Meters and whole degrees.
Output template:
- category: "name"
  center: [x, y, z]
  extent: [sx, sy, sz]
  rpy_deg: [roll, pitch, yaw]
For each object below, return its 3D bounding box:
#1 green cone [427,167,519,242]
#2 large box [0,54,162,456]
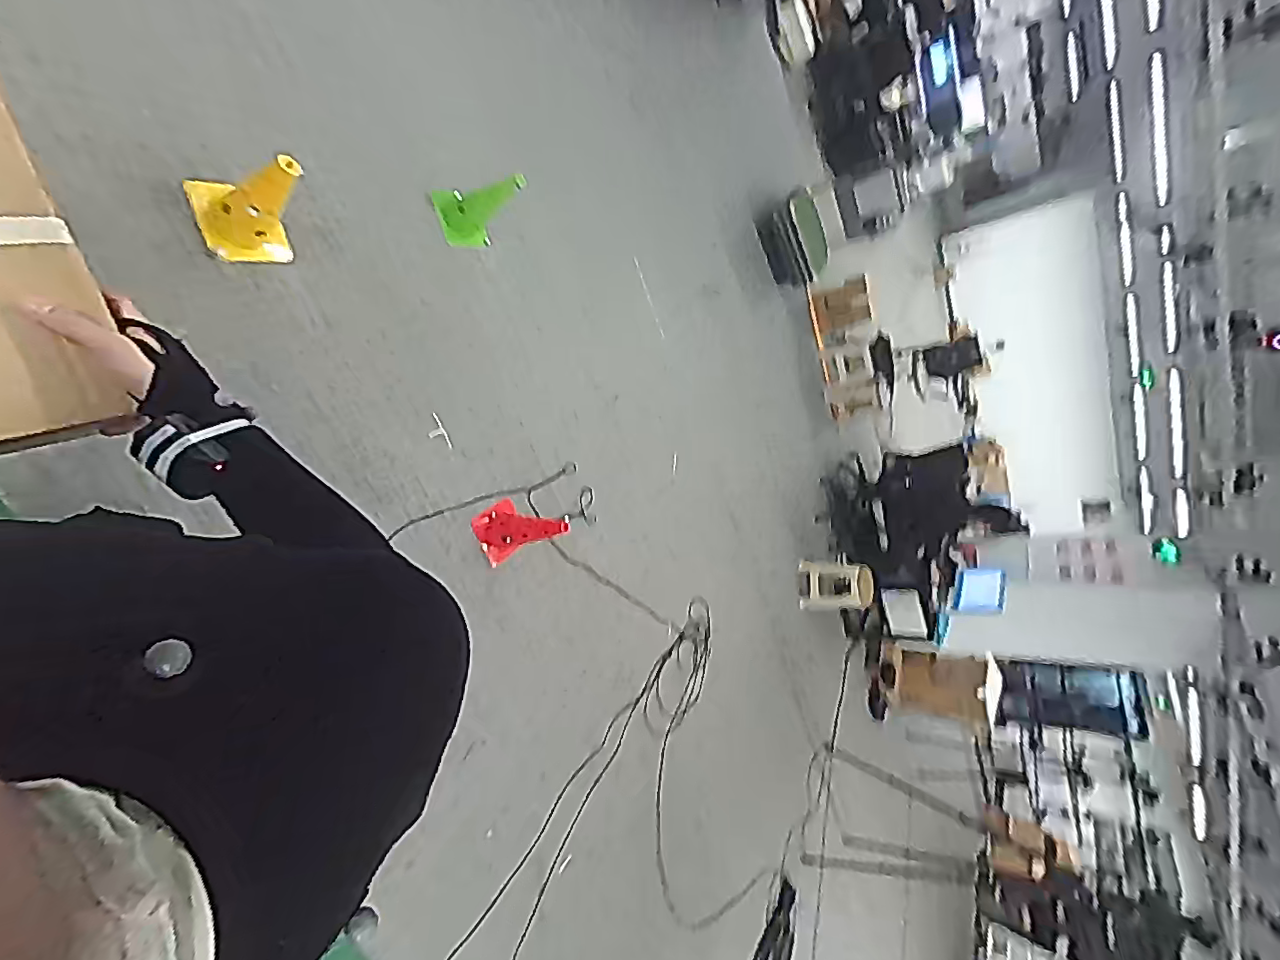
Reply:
- category: "green cone"
  center: [-0.555, -1.014, 1.919]
  extent: [0.202, 0.368, 0.200]
  rpy_deg: [-33, 110, -47]
- category: "large box"
  center: [-0.726, -0.144, 0.441]
  extent: [0.408, 0.320, 0.320]
  rpy_deg: [-28, 112, -44]
